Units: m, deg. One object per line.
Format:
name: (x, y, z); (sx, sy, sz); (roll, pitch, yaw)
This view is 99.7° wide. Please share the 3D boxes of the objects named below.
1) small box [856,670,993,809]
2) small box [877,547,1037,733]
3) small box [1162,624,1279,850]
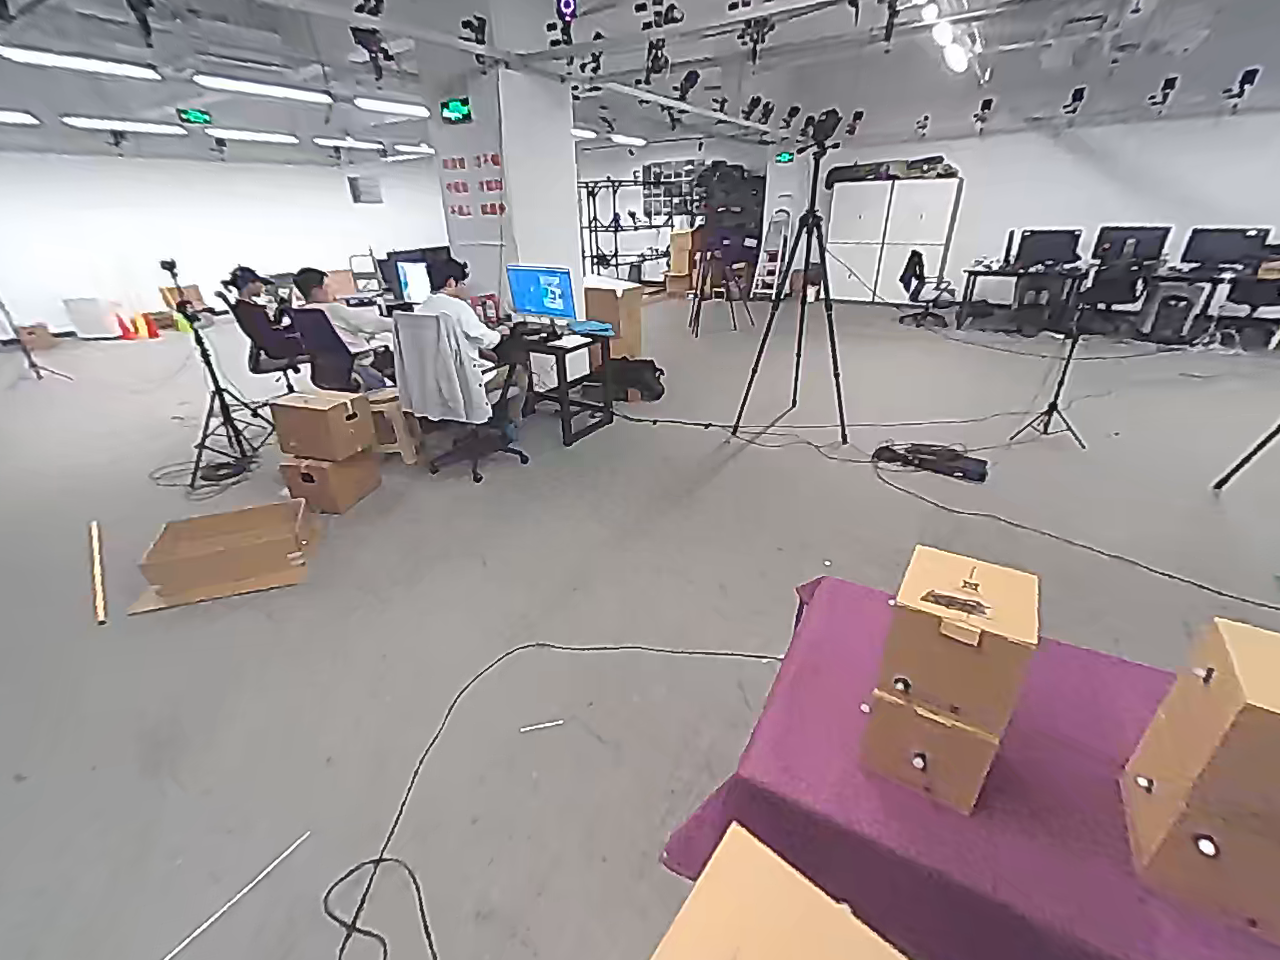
small box: (0.460, 0.381, 0.874); (0.168, 0.176, 0.179); (17, 32, 29)
small box: (0.465, 0.231, 0.803); (0.168, 0.176, 0.179); (17, 31, 30)
small box: (0.764, 0.312, 0.639); (0.168, 0.176, 0.179); (17, 32, 31)
